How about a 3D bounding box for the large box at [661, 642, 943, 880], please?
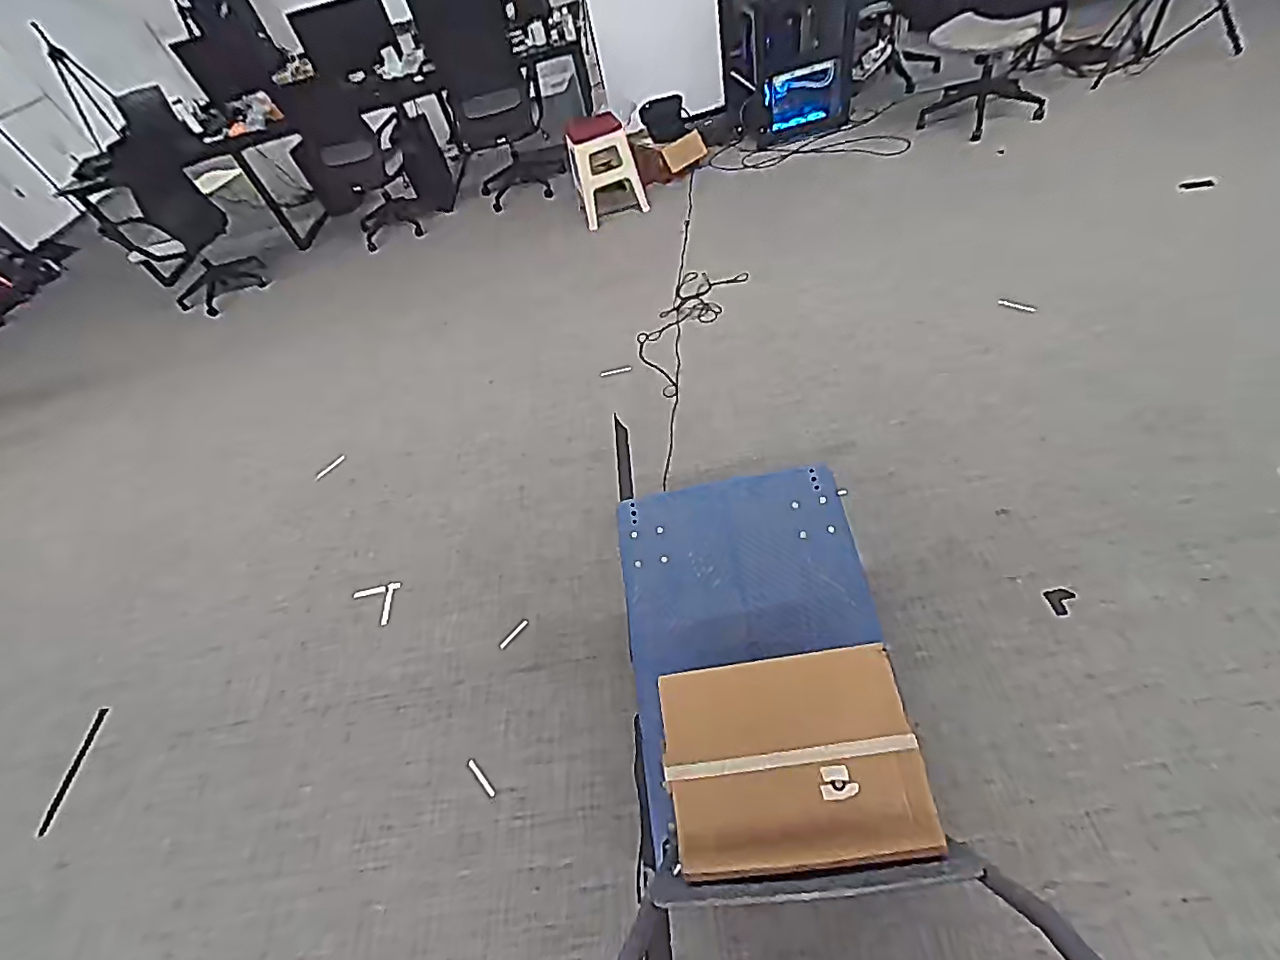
[{"bbox_3d":[0.276,0.525,1.042,0.408,0.320,0.320,-11,65,6],"label":"large box"}]
